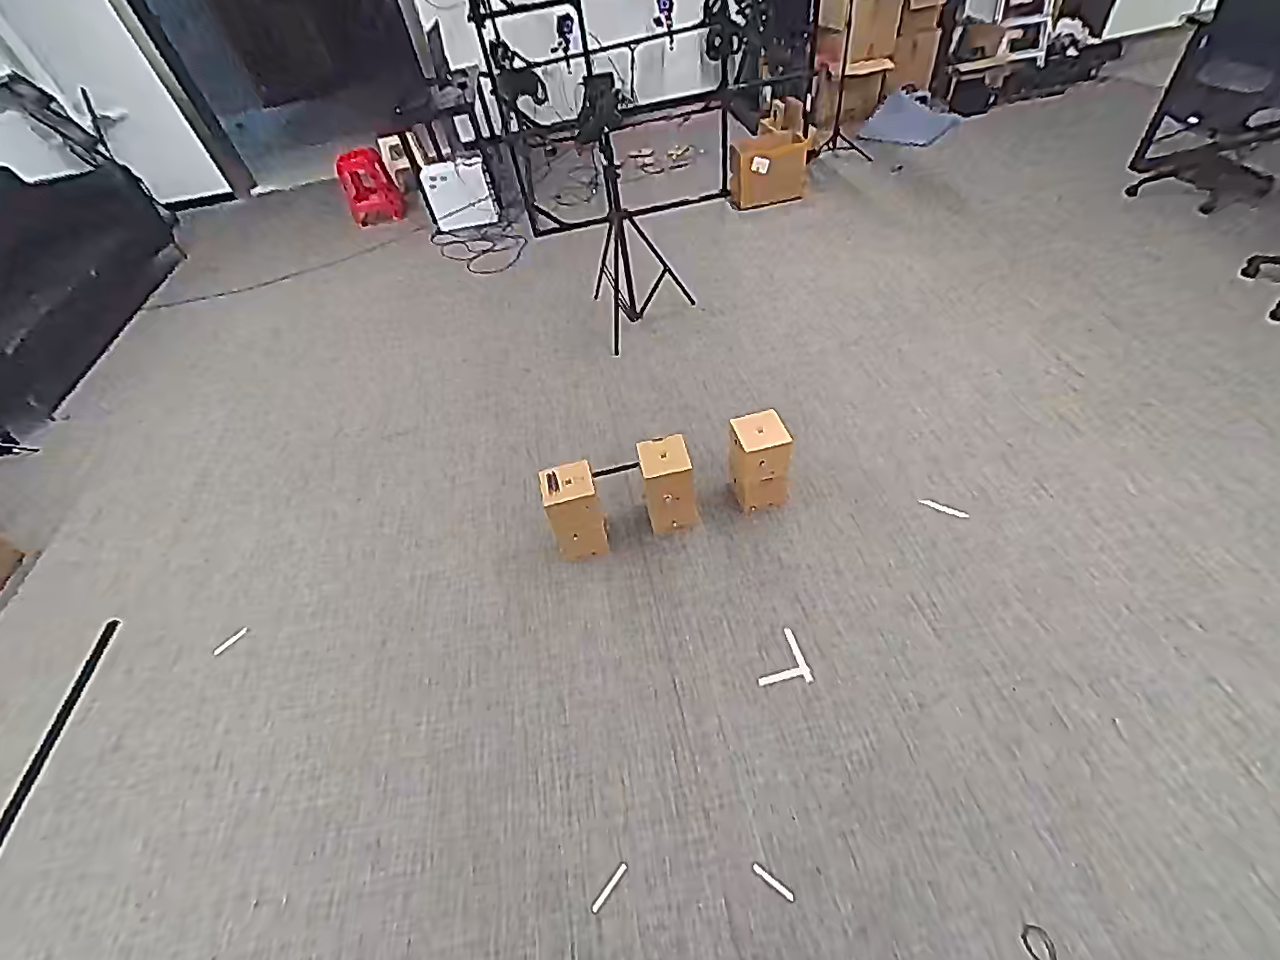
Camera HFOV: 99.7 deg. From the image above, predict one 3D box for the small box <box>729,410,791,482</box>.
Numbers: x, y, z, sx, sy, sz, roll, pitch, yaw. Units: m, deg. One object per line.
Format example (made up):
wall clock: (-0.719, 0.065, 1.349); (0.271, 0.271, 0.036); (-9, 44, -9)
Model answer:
small box: (0.418, -0.112, 1.899); (0.168, 0.176, 0.179); (-14, 47, -3)

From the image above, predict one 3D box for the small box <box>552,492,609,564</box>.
small box: (-0.217, 0.177, 1.971); (0.168, 0.176, 0.179); (-14, 47, -2)

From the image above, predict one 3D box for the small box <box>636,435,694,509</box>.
small box: (0.087, -0.026, 1.876); (0.168, 0.176, 0.179); (-13, 47, -1)

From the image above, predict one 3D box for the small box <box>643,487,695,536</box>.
small box: (0.105, 0.079, 2.000); (0.168, 0.176, 0.179); (-12, 48, -1)

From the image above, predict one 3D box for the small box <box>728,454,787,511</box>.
small box: (0.435, -0.003, 2.018); (0.168, 0.176, 0.179); (-15, 47, -4)
